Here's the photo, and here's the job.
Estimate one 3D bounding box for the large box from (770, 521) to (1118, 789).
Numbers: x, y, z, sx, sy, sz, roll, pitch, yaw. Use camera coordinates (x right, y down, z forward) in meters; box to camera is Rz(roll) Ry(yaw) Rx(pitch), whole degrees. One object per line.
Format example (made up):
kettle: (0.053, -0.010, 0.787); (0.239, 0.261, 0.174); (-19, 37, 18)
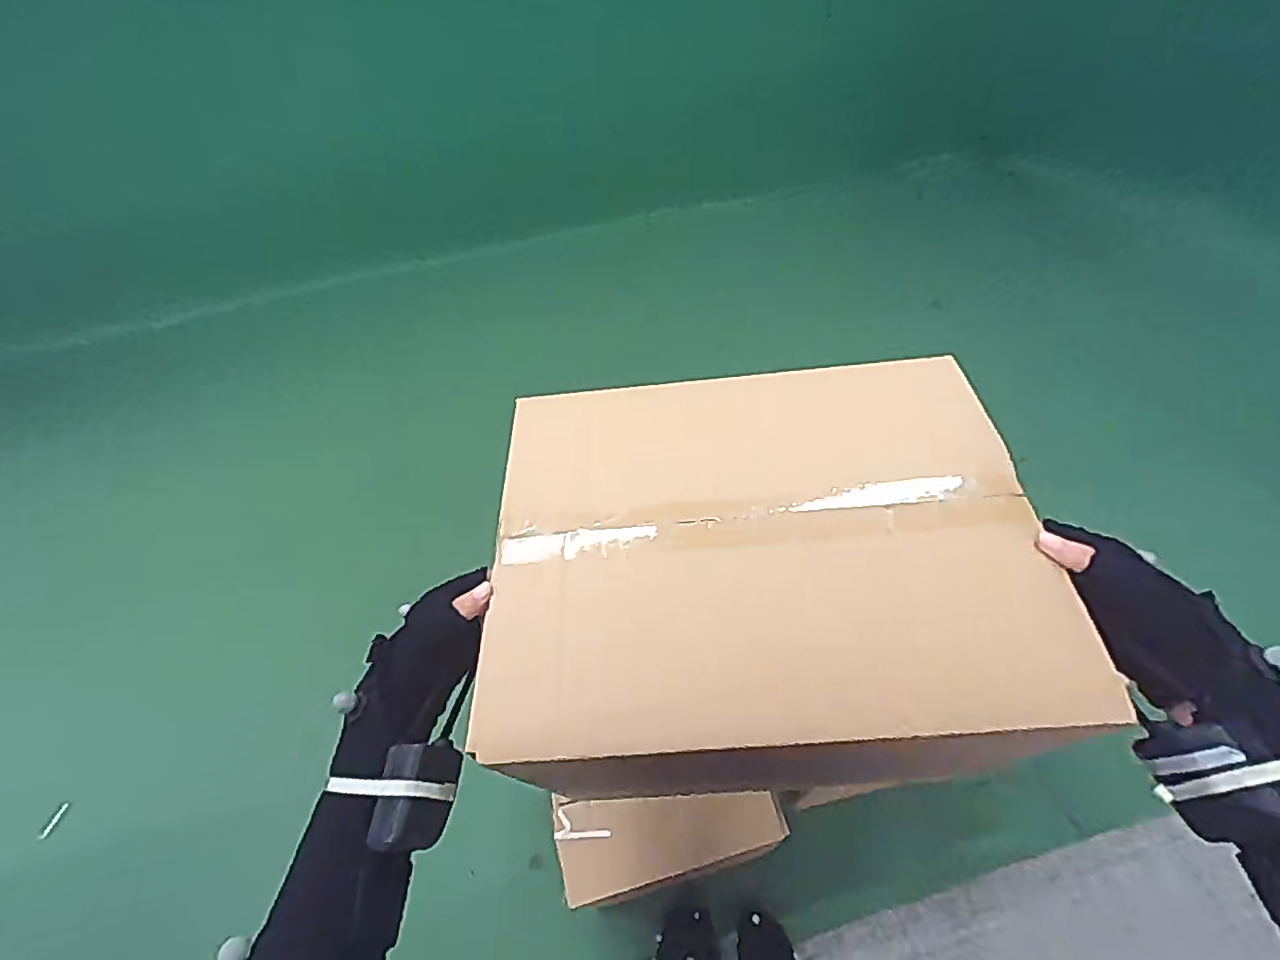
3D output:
large box: (0.496, 0.323, 0.991); (0.408, 0.320, 0.320); (-12, 52, -5)
